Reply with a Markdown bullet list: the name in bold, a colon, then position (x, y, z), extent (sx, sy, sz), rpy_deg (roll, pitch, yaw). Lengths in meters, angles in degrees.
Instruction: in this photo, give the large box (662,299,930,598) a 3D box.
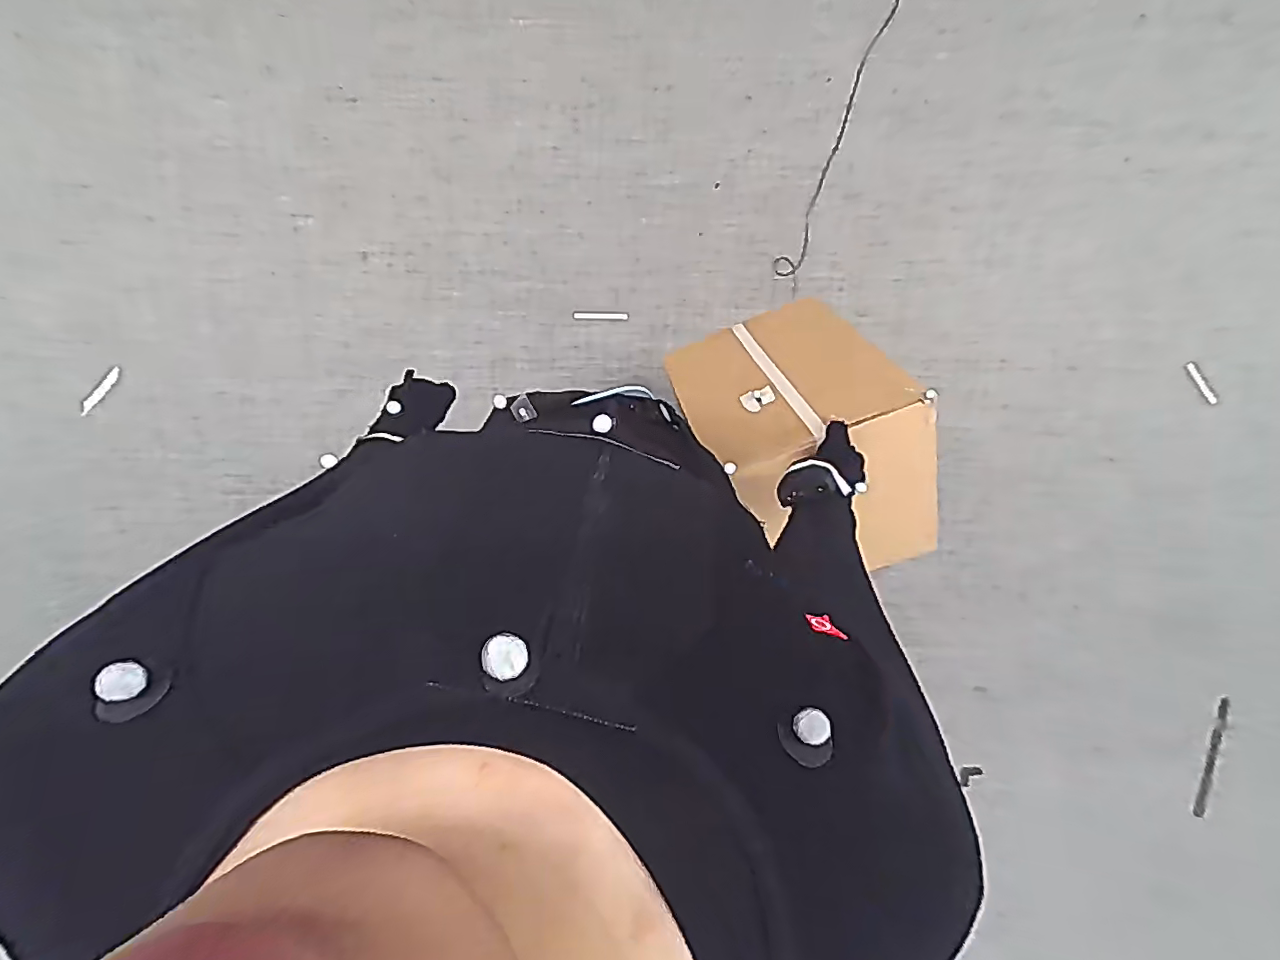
- **large box**: position (0.264, -0.069, 0.985), extent (0.320, 0.408, 0.320), rpy_deg (-22, 129, 6)
